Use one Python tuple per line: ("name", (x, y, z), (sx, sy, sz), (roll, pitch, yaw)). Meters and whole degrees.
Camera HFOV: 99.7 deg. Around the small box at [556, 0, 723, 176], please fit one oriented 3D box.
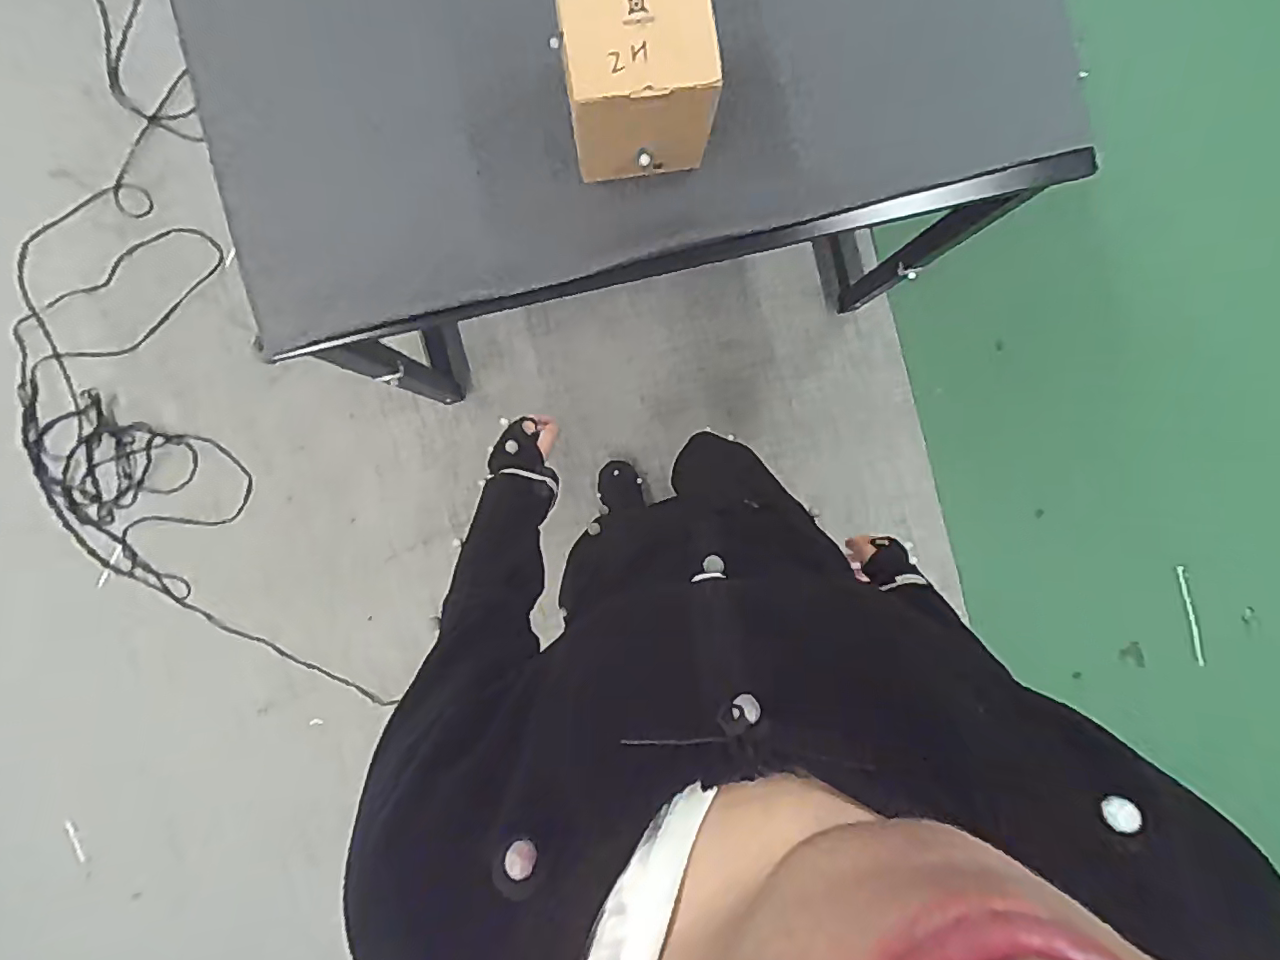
("small box", (-0.008, -0.507, 0.653), (0.168, 0.176, 0.179), (-9, 91, -3))
